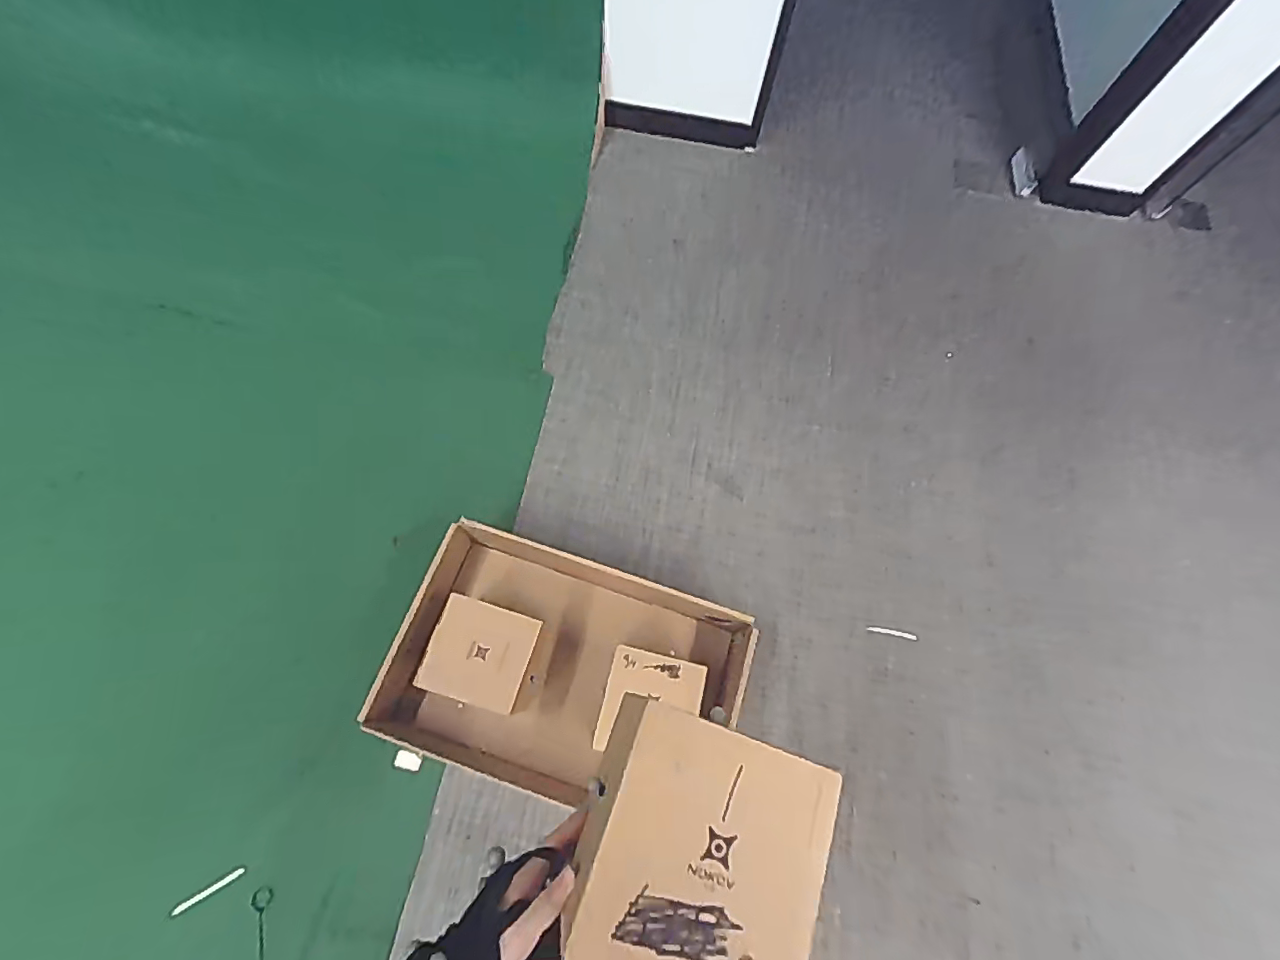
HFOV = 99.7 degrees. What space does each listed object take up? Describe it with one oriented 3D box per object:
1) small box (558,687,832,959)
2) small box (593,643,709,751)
[{"bbox_3d":[0.039,0.298,0.474,0.168,0.176,0.179,21,68,0],"label":"small box"},{"bbox_3d":[0.020,0.411,0.990,0.168,0.176,0.179,14,70,2],"label":"small box"}]
